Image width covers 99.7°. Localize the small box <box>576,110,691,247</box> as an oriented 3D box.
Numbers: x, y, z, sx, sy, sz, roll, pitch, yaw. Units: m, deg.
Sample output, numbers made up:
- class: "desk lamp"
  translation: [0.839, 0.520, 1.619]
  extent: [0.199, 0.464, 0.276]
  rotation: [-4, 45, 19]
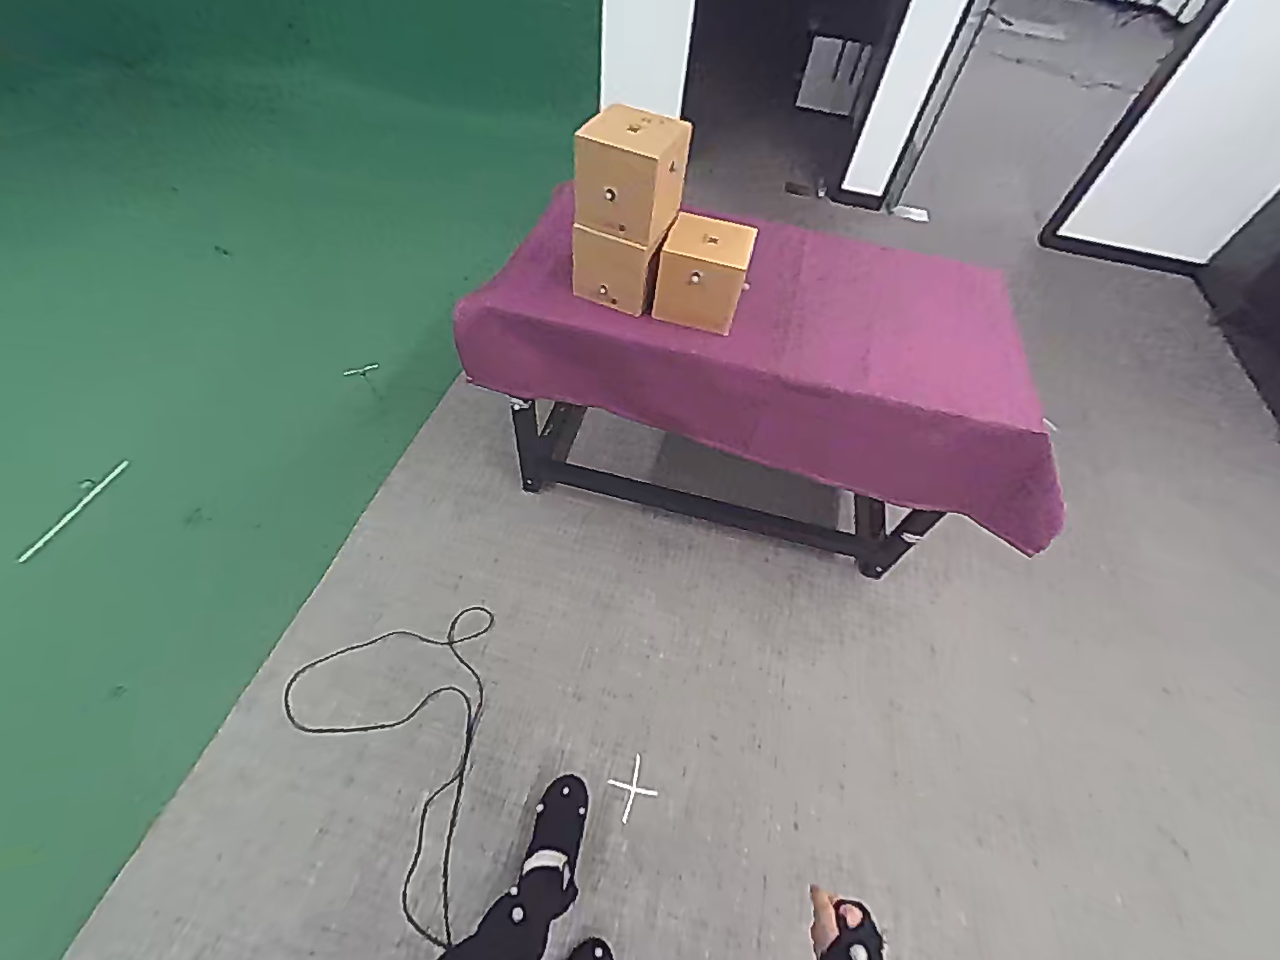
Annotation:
- class: "small box"
  translation: [-0.014, -0.593, 1.072]
  extent: [0.168, 0.176, 0.179]
  rotation: [23, 55, 9]
